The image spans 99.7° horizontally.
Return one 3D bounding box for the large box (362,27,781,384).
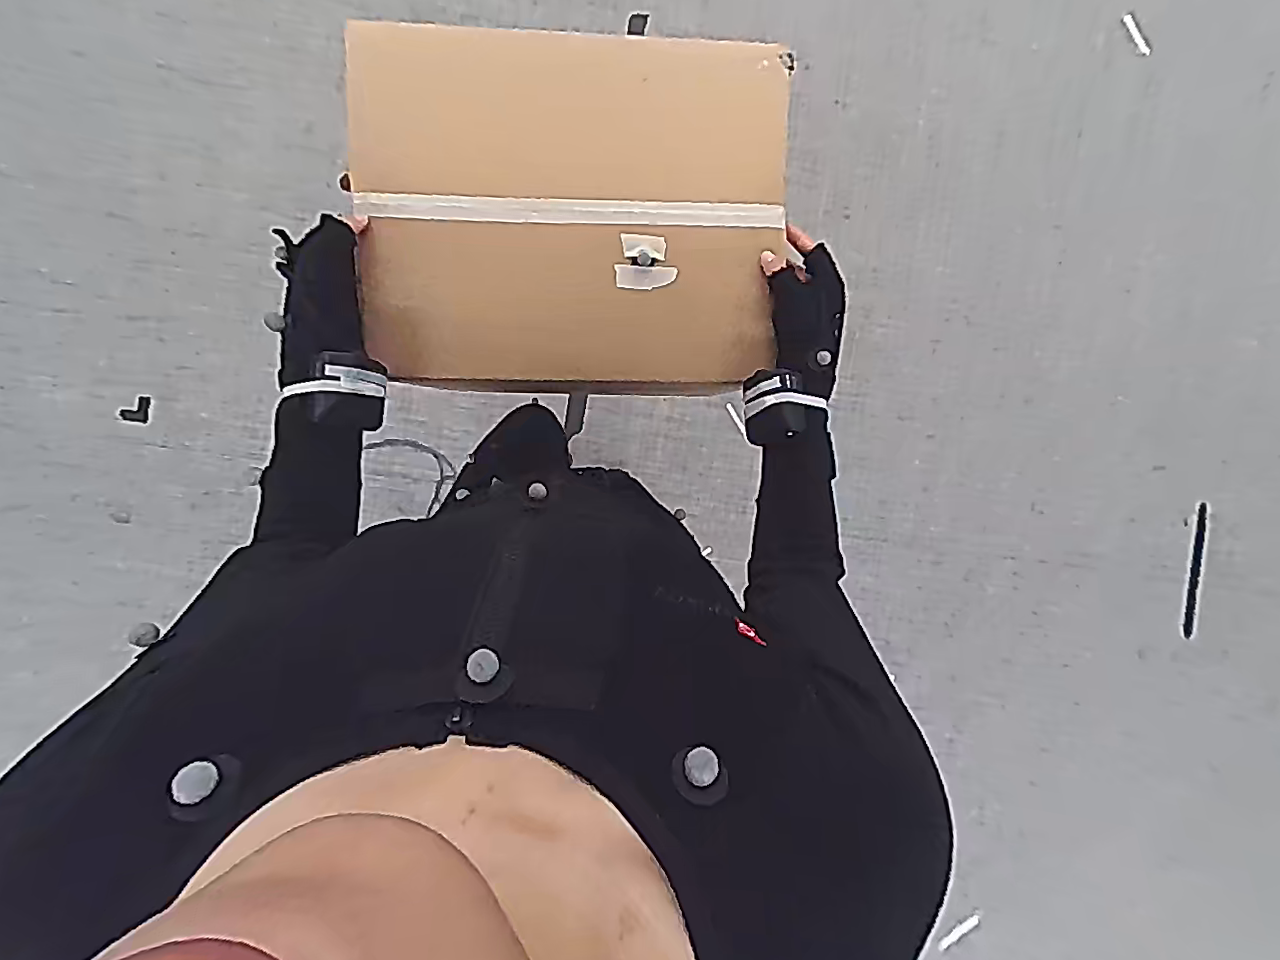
[{"bbox_3d":[-0.071,-0.288,0.677,0.408,0.320,0.320,0,98,-4],"label":"large box"}]
